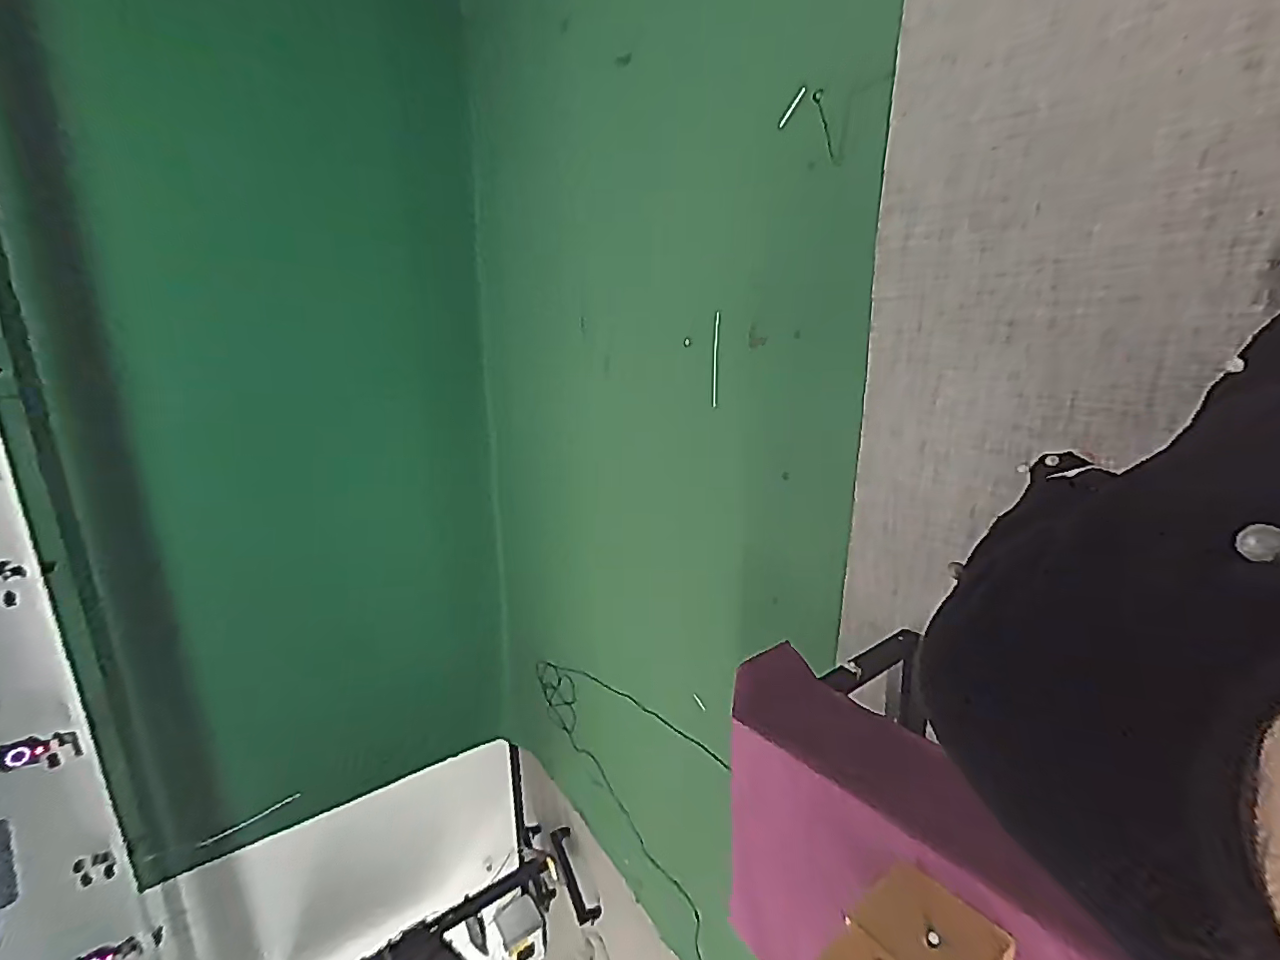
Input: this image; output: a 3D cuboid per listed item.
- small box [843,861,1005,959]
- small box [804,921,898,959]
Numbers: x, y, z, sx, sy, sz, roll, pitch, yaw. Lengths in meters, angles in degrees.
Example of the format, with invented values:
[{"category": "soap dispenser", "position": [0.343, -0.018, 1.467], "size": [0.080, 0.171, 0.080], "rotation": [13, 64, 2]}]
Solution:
[{"category": "small box", "position": [0.438, 0.752, 0.841], "size": [0.179, 0.176, 0.168], "rotation": [12, 108, 52]}, {"category": "small box", "position": [0.308, 0.784, 0.747], "size": [0.168, 0.176, 0.179], "rotation": [15, 110, 53]}]
